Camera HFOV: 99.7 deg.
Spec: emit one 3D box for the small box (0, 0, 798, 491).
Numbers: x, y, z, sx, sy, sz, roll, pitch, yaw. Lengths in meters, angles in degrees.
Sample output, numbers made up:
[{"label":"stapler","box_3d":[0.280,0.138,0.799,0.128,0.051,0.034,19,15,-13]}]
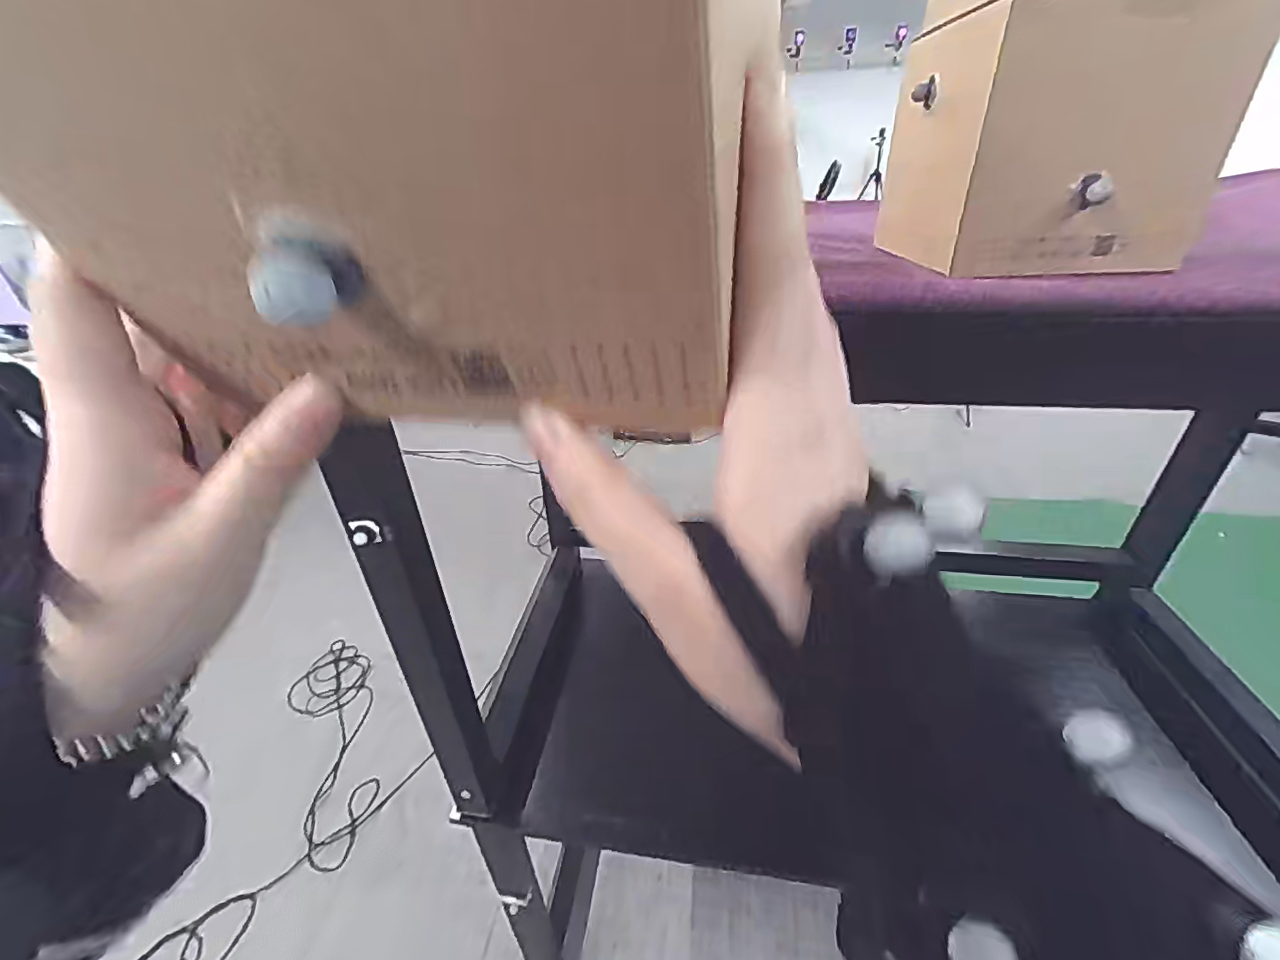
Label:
[{"label":"small box","box_3d":[-0.044,-0.120,0.144,0.168,0.176,0.179,4,55,14]}]
